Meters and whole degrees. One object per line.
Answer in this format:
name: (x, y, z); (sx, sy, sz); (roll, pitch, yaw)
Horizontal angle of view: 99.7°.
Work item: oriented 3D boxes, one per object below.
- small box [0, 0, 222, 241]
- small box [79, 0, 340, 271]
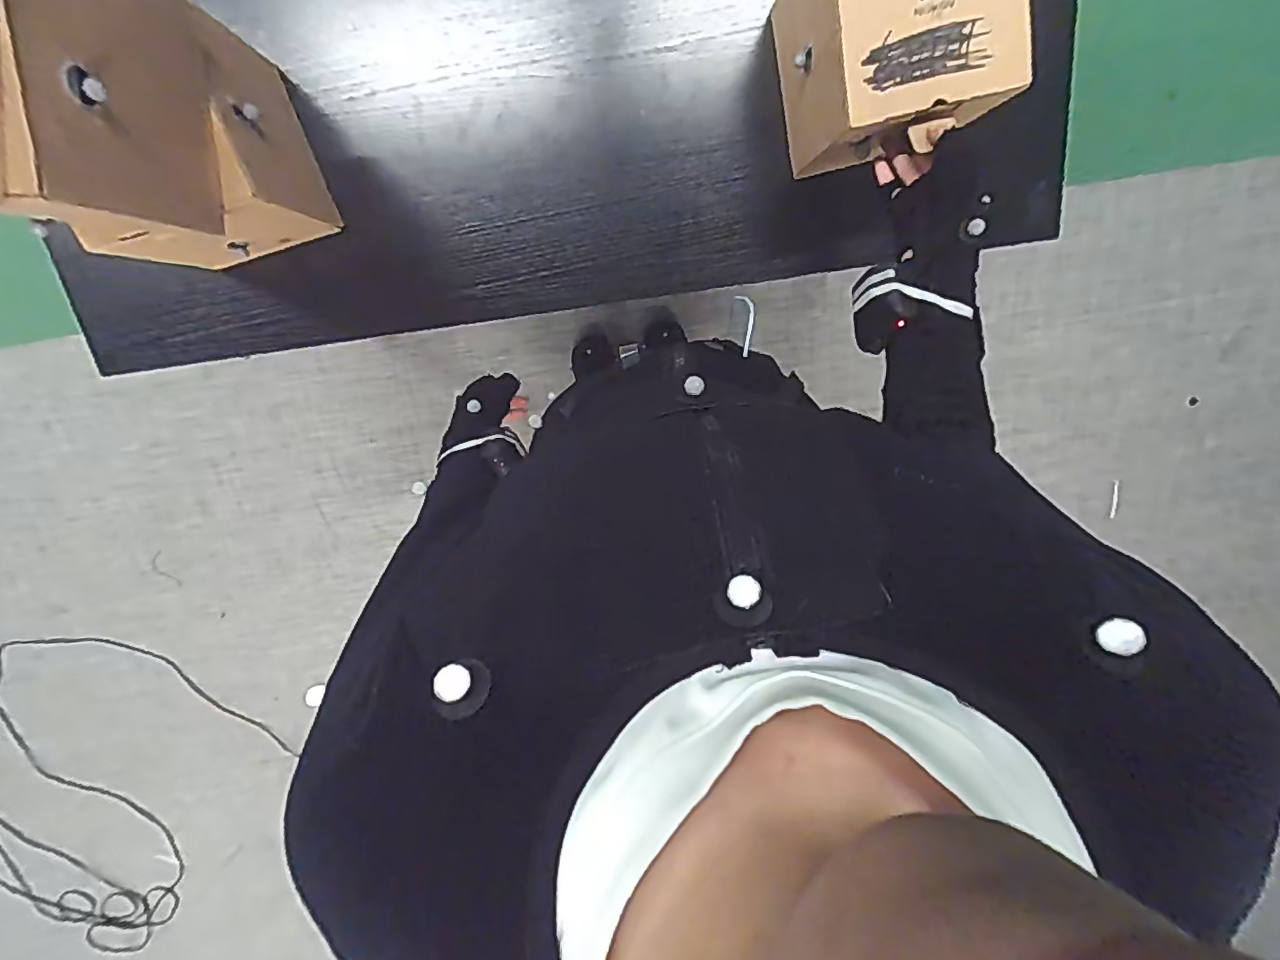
small box: (-0.441, -0.278, 0.385); (0.168, 0.176, 0.179); (4, 106, -5)
small box: (-0.446, -0.325, 0.543); (0.168, 0.176, 0.179); (-17, 108, 2)
